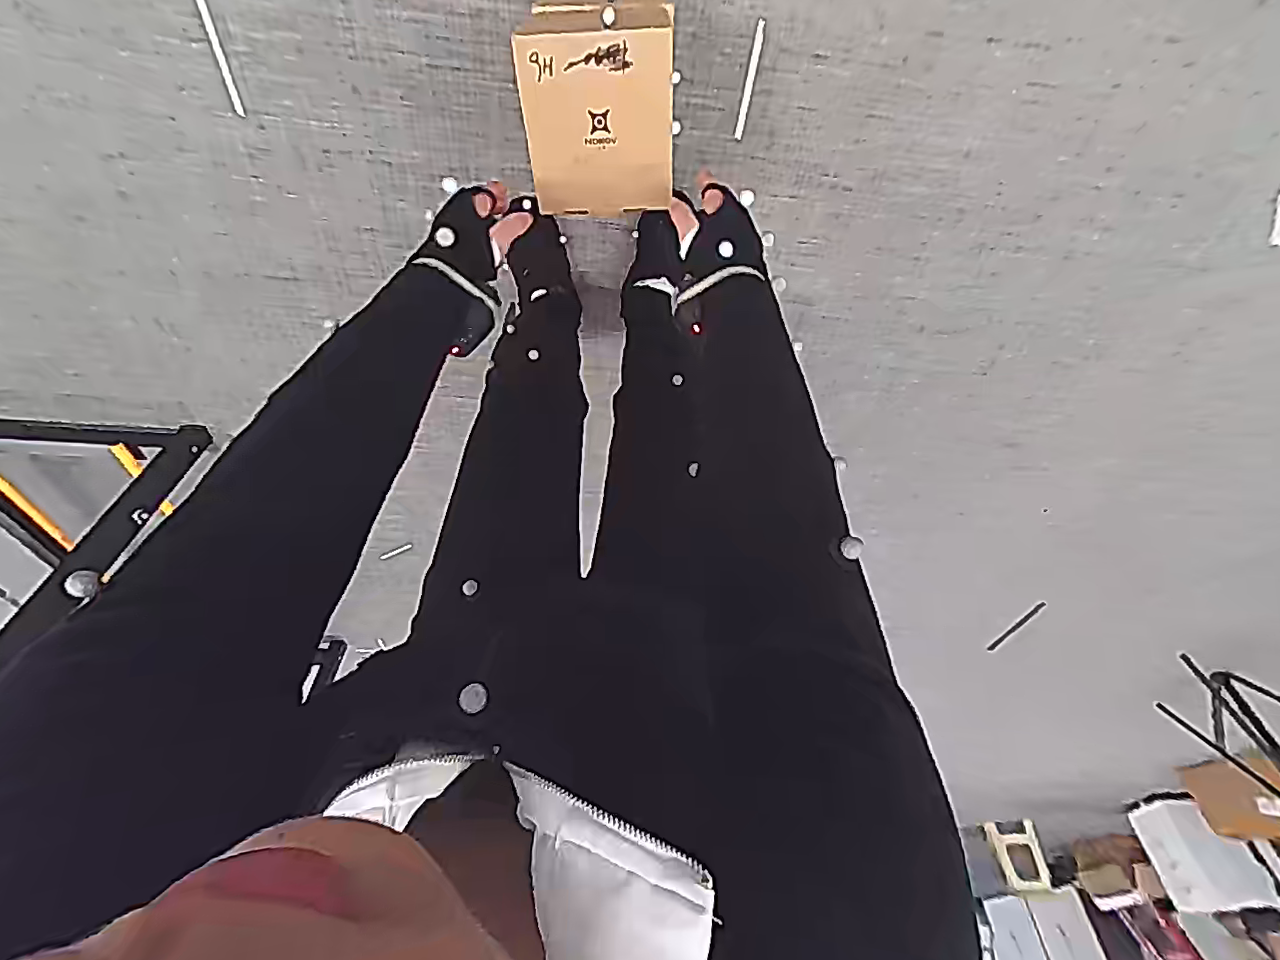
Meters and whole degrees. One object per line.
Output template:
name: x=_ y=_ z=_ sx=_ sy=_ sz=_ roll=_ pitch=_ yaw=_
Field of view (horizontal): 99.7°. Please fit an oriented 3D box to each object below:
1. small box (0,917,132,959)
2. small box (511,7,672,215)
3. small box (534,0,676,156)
small box: x=-1.373 y=1.147 z=1.274 sx=0.168 sy=0.176 sz=0.179 roll=3 pitch=136 yaw=-3
small box: x=-0.046 y=-0.446 z=0.657 sx=0.168 sy=0.176 sz=0.179 roll=-1 pitch=137 yaw=1
small box: x=-0.044 y=-0.571 z=0.763 sx=0.179 sy=0.176 sz=0.168 roll=0 pitch=136 yaw=0
